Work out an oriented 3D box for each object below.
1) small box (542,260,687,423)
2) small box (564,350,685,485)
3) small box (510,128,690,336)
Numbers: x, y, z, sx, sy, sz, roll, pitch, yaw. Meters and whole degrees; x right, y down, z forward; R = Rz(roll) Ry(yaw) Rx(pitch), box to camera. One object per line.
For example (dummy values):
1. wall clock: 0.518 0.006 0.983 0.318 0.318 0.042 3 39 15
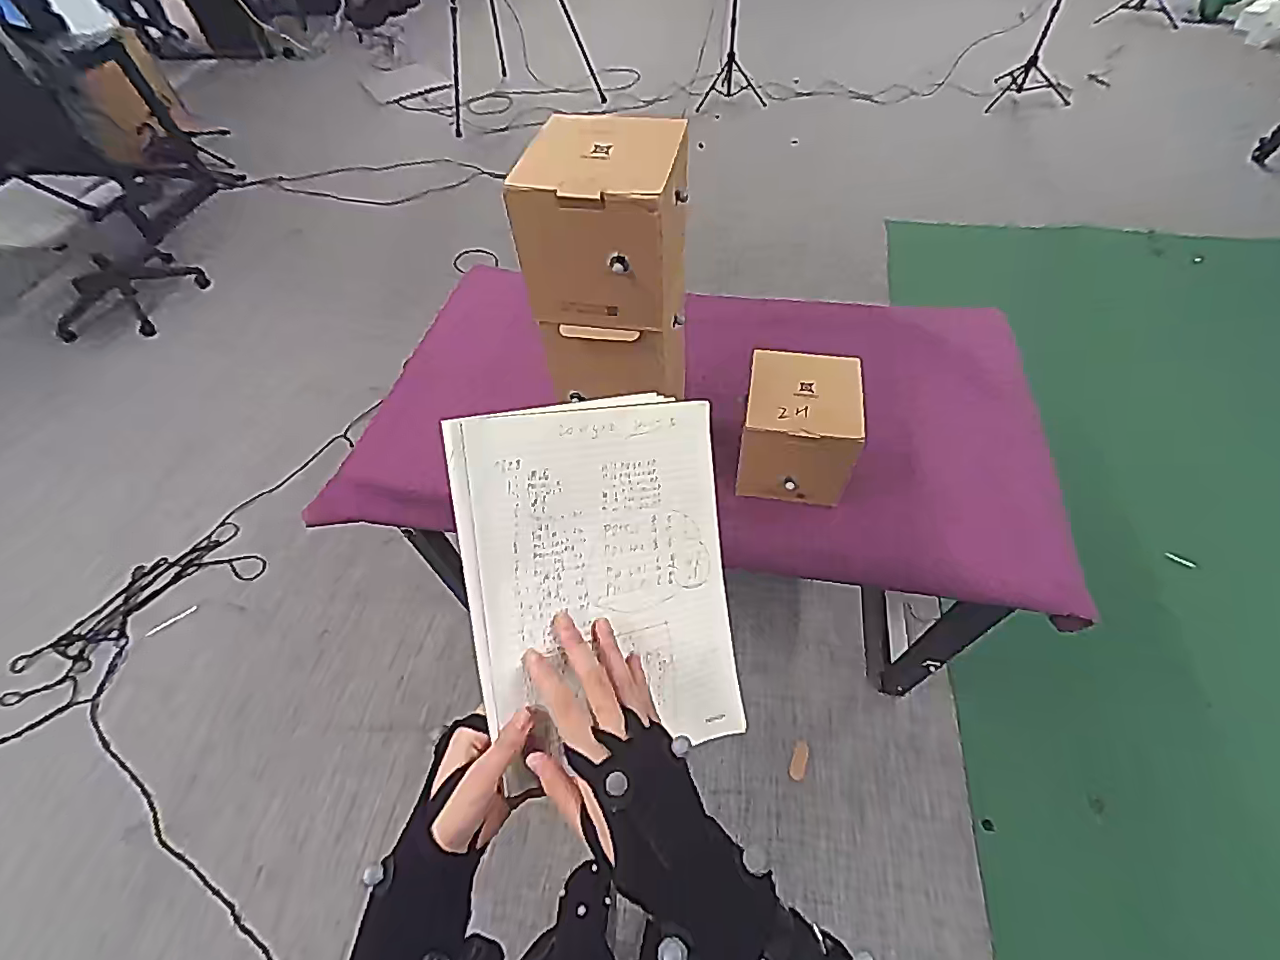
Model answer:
1. small box: -0.025 -0.205 0.789 0.168 0.176 0.179 8 54 9
2. small box: -0.015 -0.112 0.925 0.168 0.176 0.179 8 56 9
3. small box: -0.034 -0.297 0.655 0.168 0.176 0.179 9 54 9
